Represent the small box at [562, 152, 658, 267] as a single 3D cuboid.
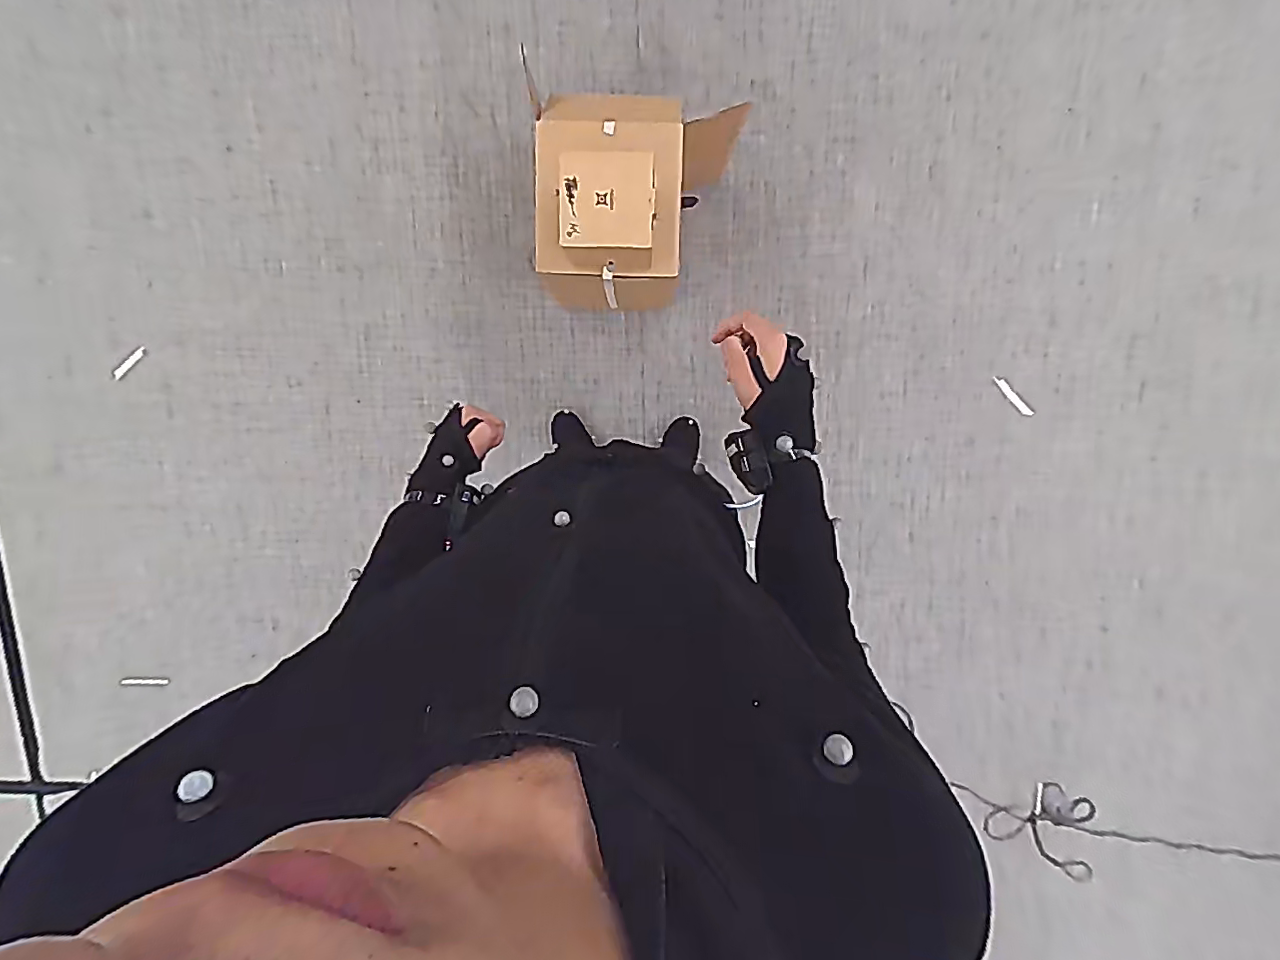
[{"bbox_3d":[-0.058,-0.530,1.079,0.179,0.176,0.168,2,100,0],"label":"small box"}]
